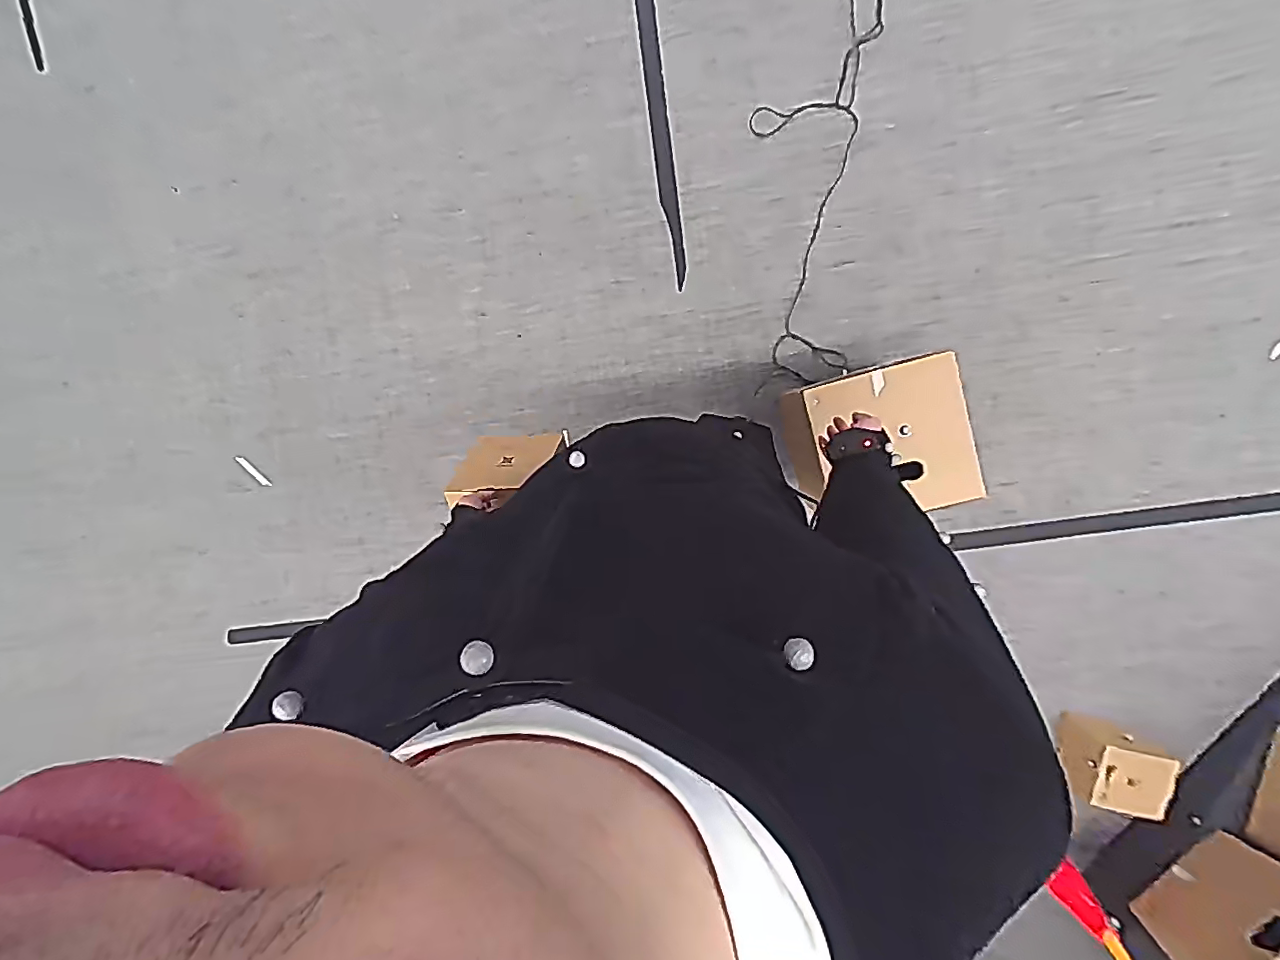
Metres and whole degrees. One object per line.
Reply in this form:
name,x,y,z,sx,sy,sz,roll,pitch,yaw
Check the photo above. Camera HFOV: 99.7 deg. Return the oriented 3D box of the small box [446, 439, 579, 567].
small box,-0.219,0.045,0.984,0.168,0.179,0.176,-3,122,10
